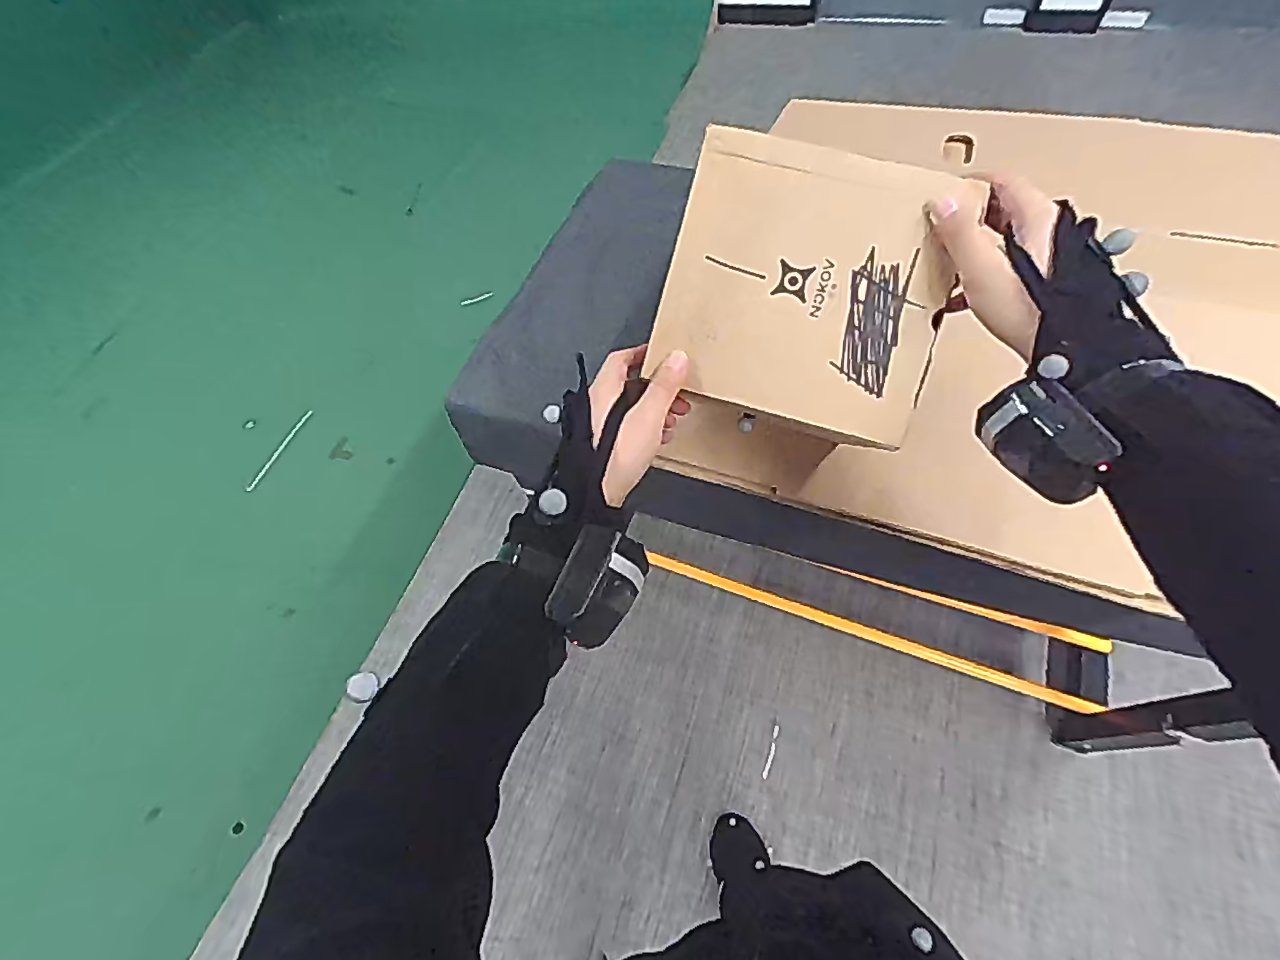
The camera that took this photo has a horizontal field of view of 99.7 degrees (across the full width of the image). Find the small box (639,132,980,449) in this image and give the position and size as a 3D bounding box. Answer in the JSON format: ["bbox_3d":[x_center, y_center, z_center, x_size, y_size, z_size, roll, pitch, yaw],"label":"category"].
[{"bbox_3d":[0.115,-0.129,0.426,0.179,0.176,0.168,17,97,7],"label":"small box"}]
